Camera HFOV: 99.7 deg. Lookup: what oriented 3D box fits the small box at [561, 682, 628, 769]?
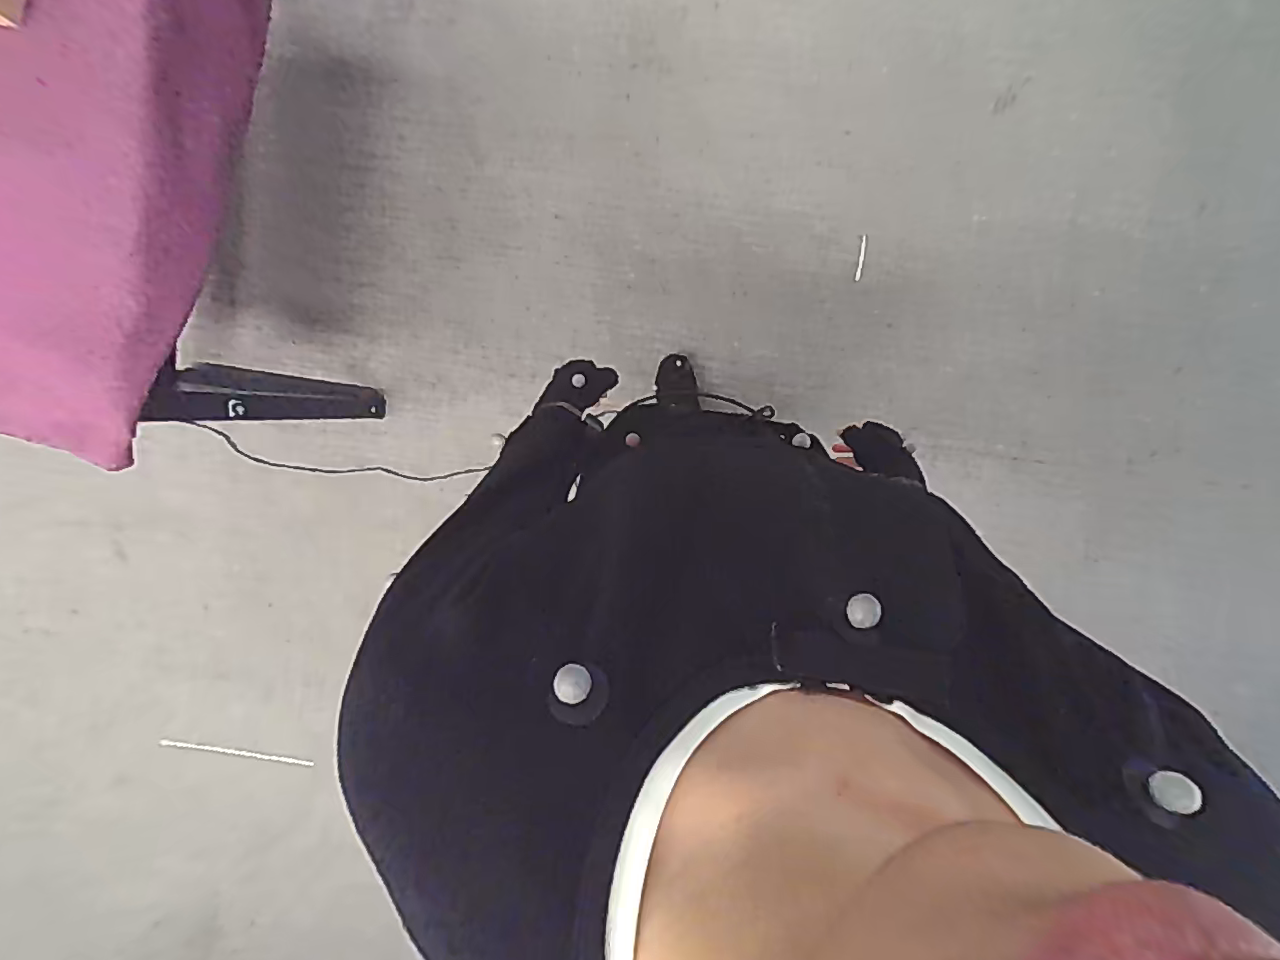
[{"bbox_3d":[-0.125,0.685,1.481,0.168,0.176,0.179,6,98,2],"label":"small box"}]
